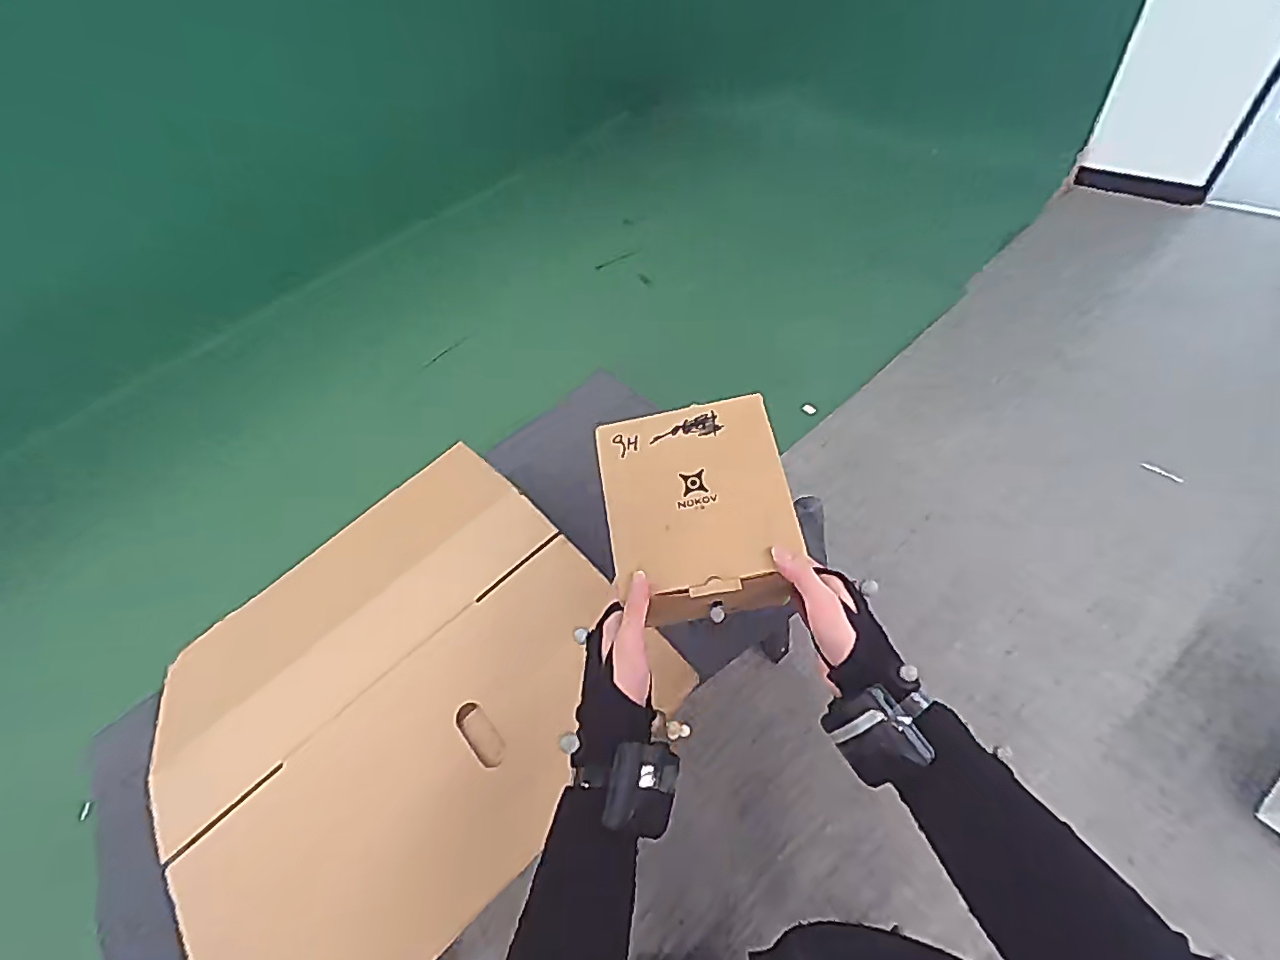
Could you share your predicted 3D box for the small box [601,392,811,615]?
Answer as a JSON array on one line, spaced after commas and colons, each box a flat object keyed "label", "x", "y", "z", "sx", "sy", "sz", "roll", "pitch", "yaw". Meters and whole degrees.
[{"label": "small box", "x": 0.067, "y": 0.038, "z": 0.573, "sx": 0.168, "sy": 0.176, "sz": 0.179, "roll": -13, "pitch": 66, "yaw": 3}]
